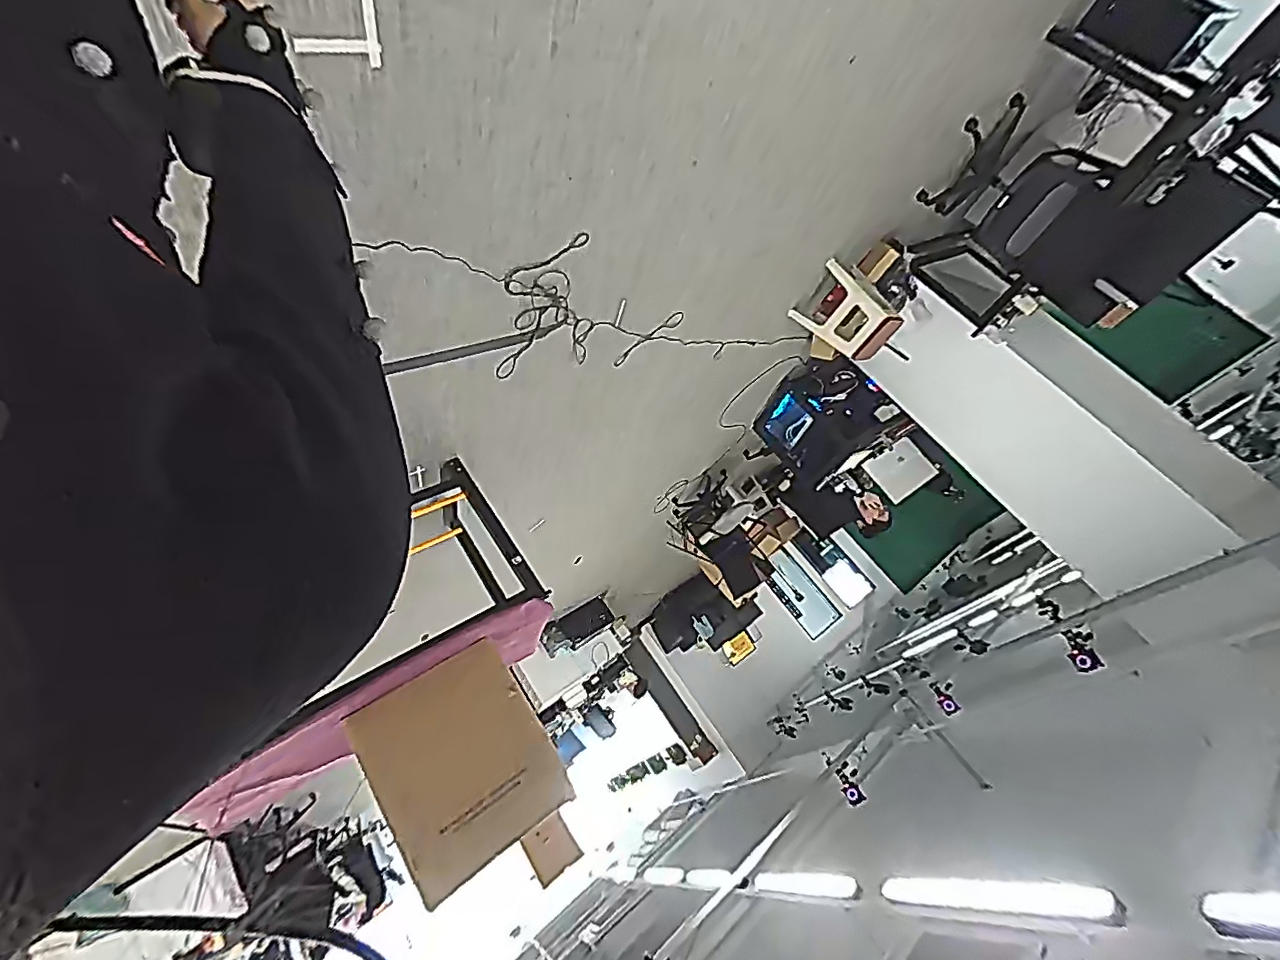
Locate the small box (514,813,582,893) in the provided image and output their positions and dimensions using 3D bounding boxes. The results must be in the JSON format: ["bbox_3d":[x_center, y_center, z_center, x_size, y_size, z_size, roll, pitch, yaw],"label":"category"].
[{"bbox_3d":[-0.326,1.298,1.890,0.168,0.176,0.179,-26,157,-30],"label":"small box"}]
